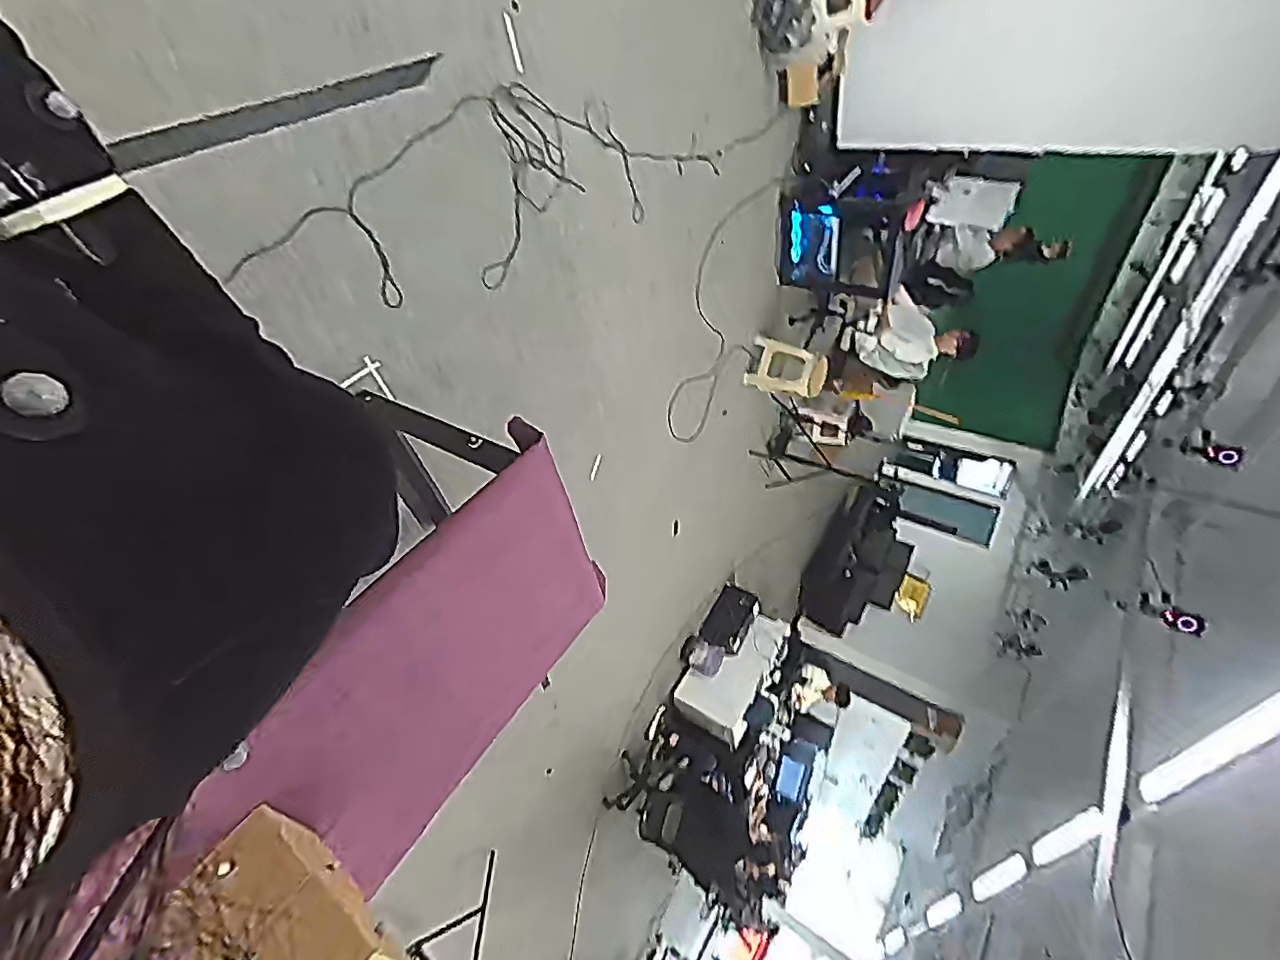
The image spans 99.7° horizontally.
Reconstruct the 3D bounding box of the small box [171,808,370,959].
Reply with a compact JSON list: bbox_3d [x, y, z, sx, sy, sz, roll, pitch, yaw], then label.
[{"bbox_3d":[-0.580,0.666,0.860,0.168,0.176,0.179,-47,143,-34],"label":"small box"}]

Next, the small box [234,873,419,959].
[{"bbox_3d":[-0.448,0.713,0.775,0.168,0.176,0.179,-46,143,-36],"label":"small box"}]
